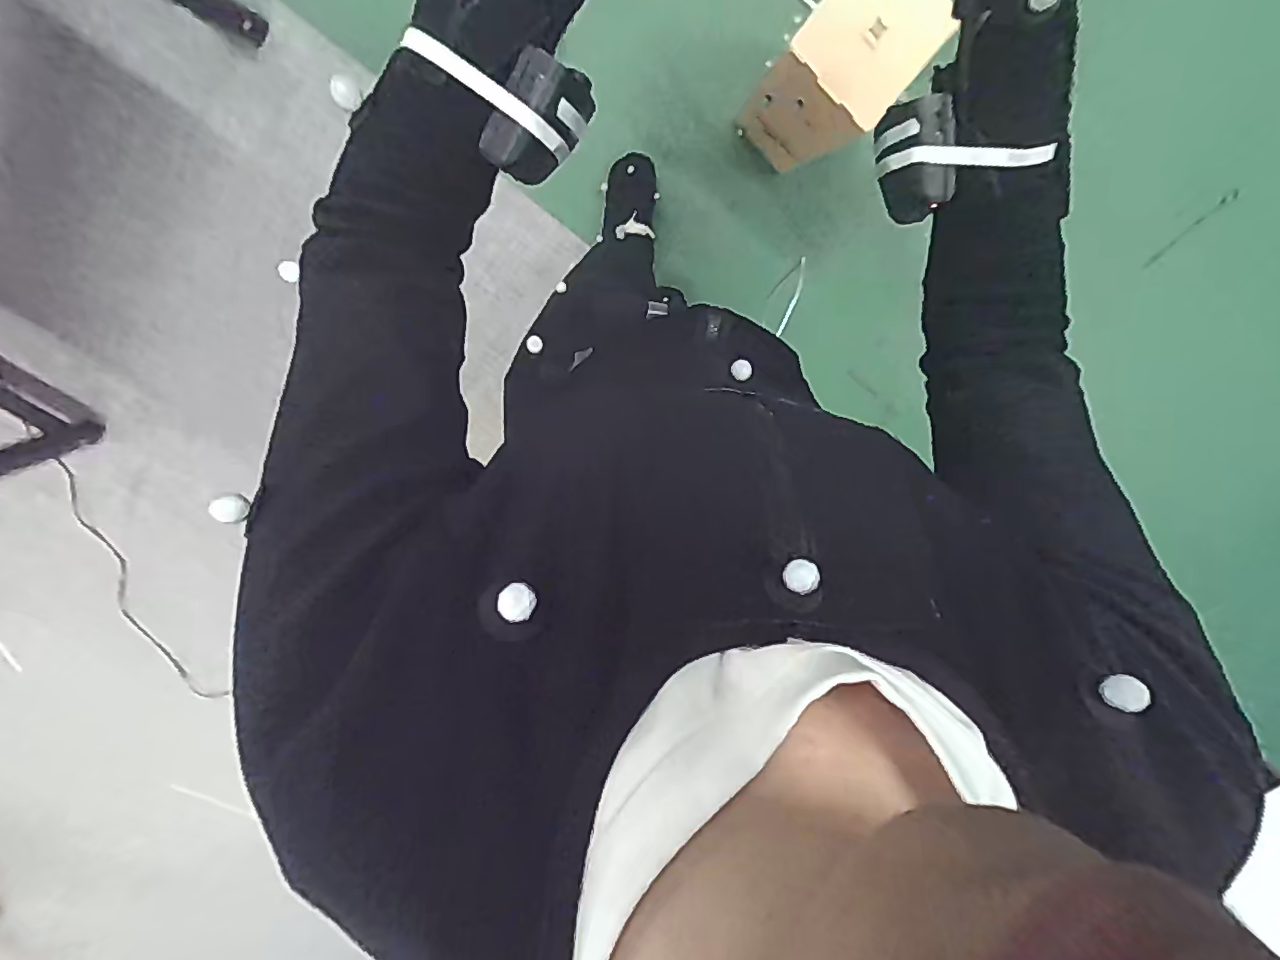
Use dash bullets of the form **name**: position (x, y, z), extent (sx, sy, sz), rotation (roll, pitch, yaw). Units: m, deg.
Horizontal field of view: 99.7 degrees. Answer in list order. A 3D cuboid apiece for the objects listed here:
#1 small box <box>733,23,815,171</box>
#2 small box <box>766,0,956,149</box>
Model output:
- **small box**: position (0.309, -0.771, 1.115), extent (0.168, 0.176, 0.179), rotation (36, 110, -15)
- **small box**: position (0.316, -0.641, 0.814), extent (0.168, 0.176, 0.179), rotation (37, 108, -16)
